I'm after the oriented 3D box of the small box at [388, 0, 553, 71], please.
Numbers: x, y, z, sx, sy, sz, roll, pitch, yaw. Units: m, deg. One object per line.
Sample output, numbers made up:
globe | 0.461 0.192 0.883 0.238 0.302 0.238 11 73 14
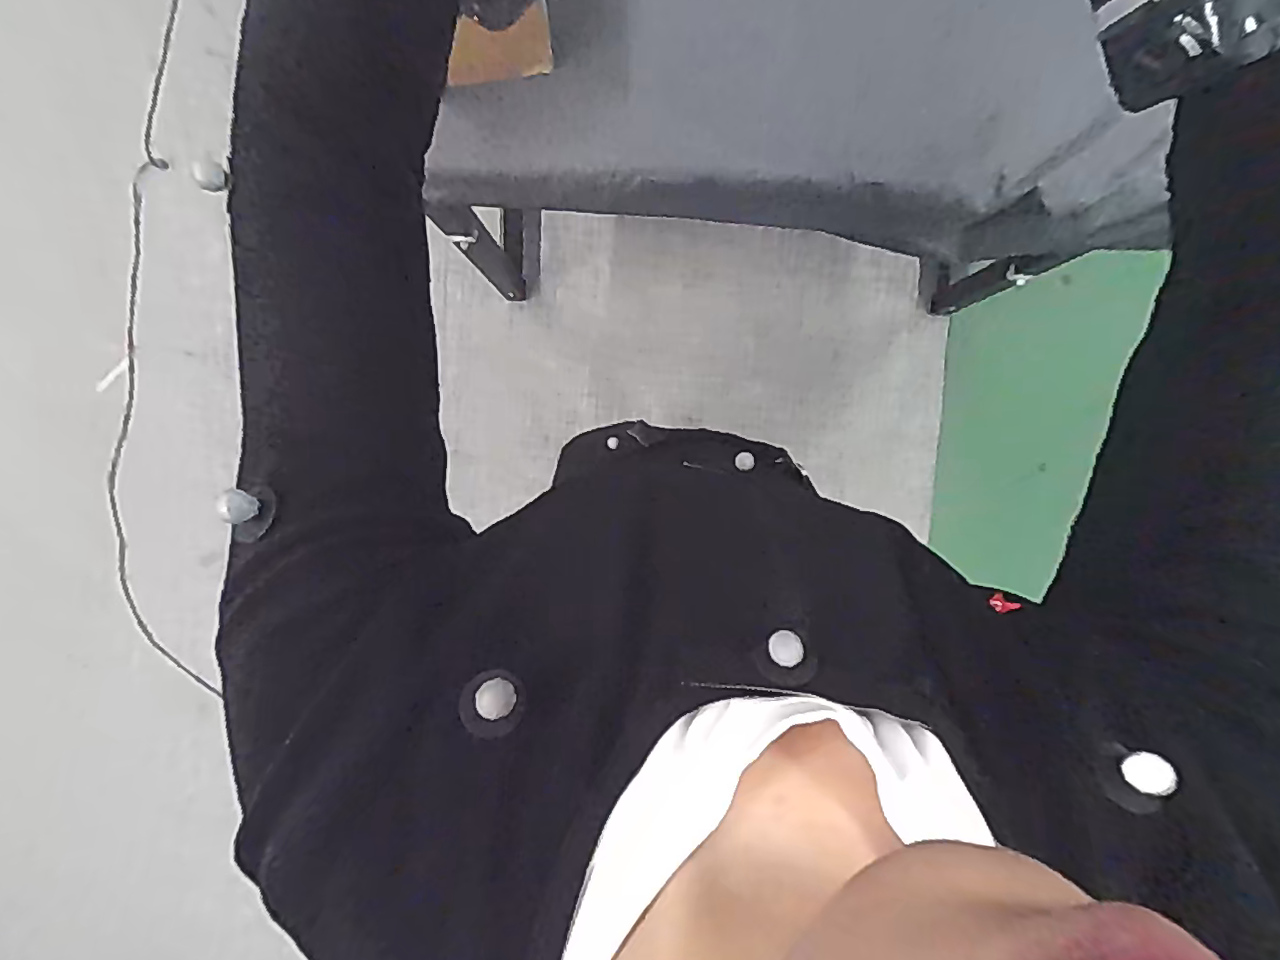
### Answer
small box | -0.205 -0.608 0.615 0.179 0.176 0.168 -8 95 -1
